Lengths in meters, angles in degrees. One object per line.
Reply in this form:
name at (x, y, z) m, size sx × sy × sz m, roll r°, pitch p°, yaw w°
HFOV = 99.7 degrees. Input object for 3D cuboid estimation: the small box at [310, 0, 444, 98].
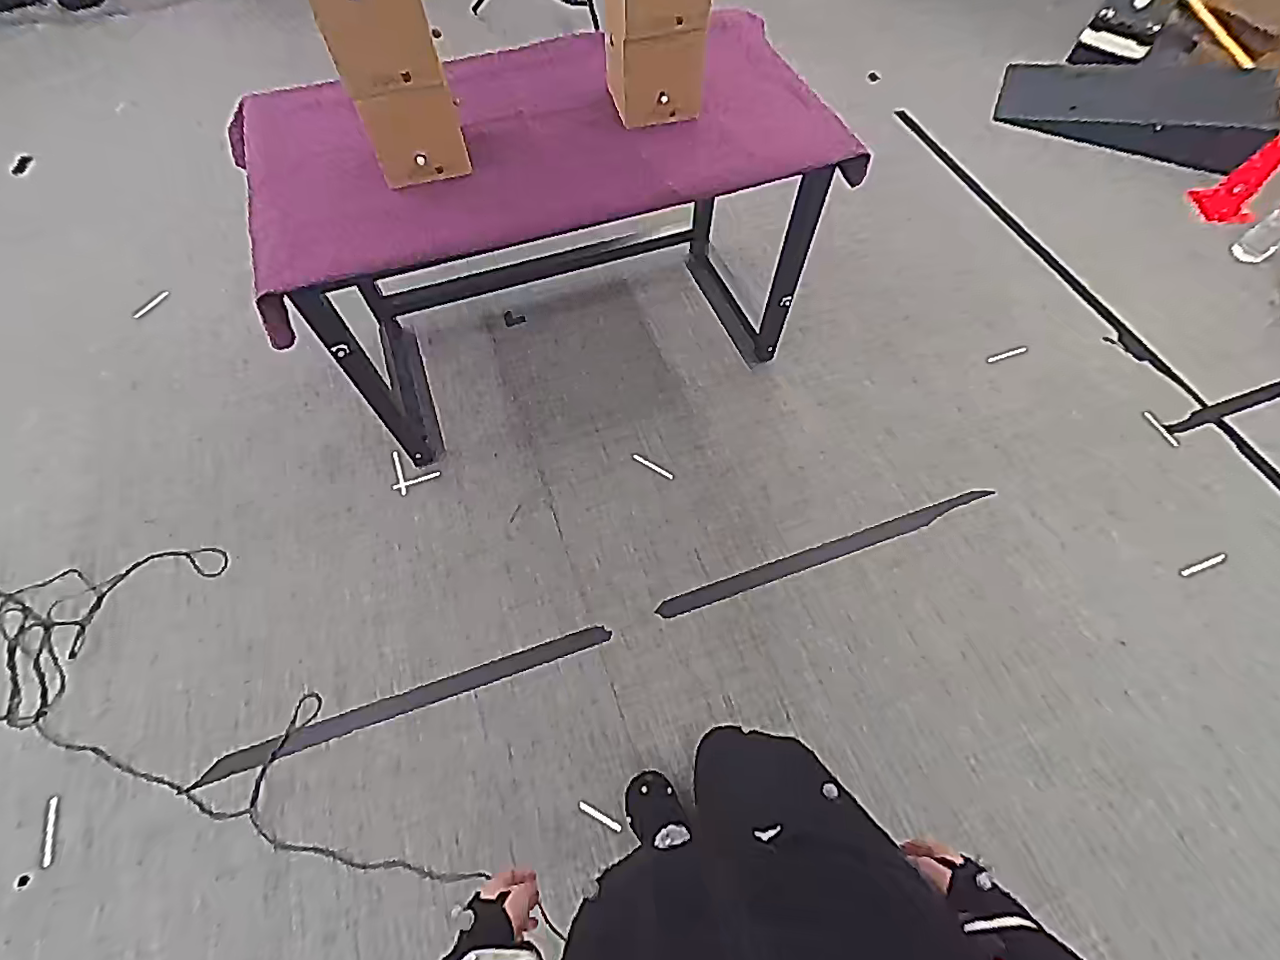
small box at (-0.439, -0.775, 0.895) m, size 0.168 × 0.176 × 0.179 m, roll -16°, pitch 64°, yaw -8°

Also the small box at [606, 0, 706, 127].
small box at (0.028, -0.880, 1.131) m, size 0.168 × 0.176 × 0.179 m, roll -13°, pitch 64°, yaw -6°

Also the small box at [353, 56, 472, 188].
small box at (-0.439, -0.702, 1.041) m, size 0.168 × 0.176 × 0.179 m, roll -17°, pitch 65°, yaw -8°
